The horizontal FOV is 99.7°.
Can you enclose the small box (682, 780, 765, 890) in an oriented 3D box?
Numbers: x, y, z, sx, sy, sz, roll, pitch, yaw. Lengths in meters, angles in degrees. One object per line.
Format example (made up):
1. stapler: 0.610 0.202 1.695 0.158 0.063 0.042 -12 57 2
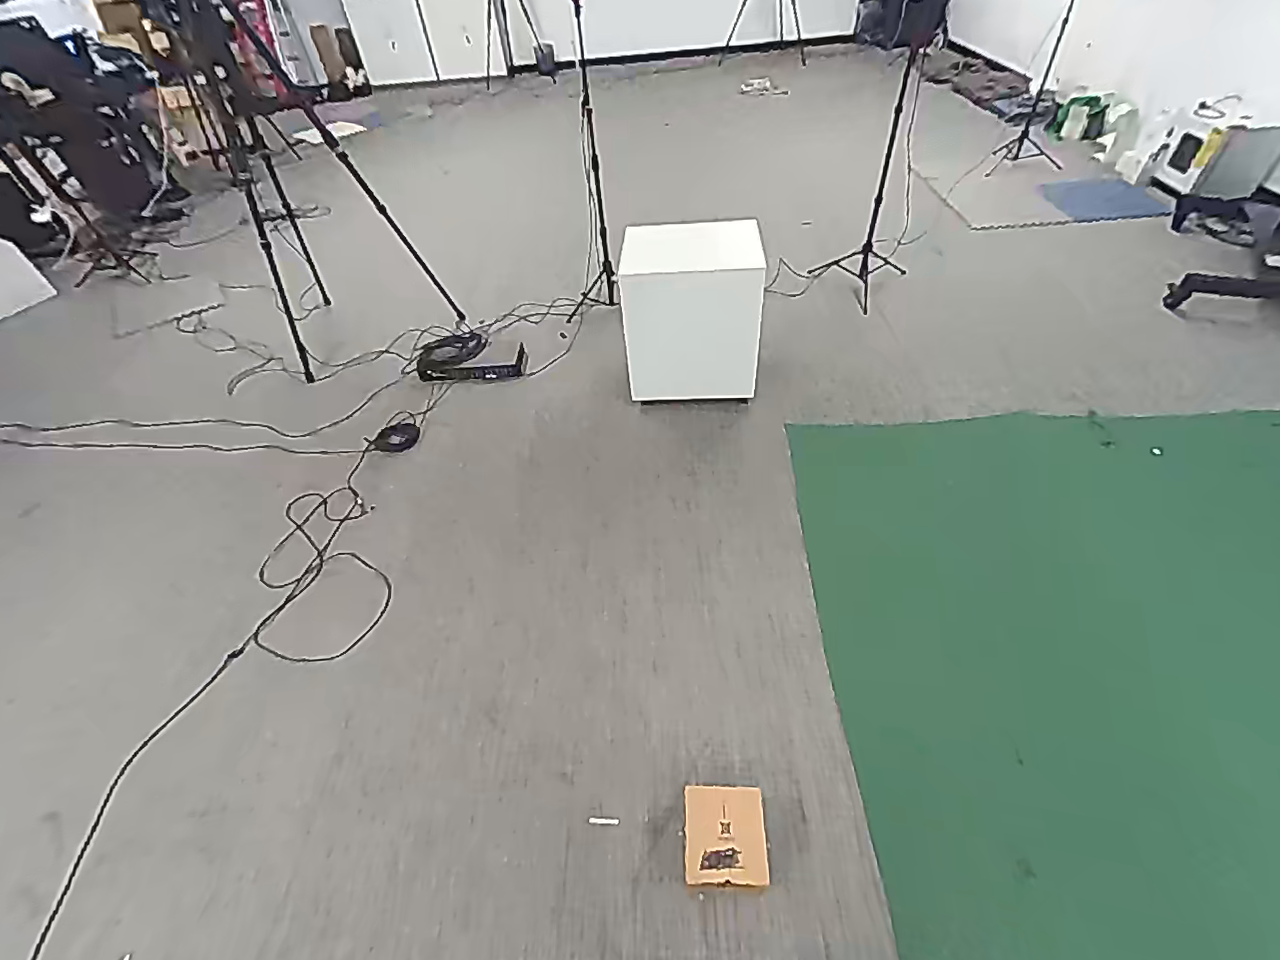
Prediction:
1. small box: 0.176 0.774 1.174 0.168 0.176 0.179 -1 47 5
